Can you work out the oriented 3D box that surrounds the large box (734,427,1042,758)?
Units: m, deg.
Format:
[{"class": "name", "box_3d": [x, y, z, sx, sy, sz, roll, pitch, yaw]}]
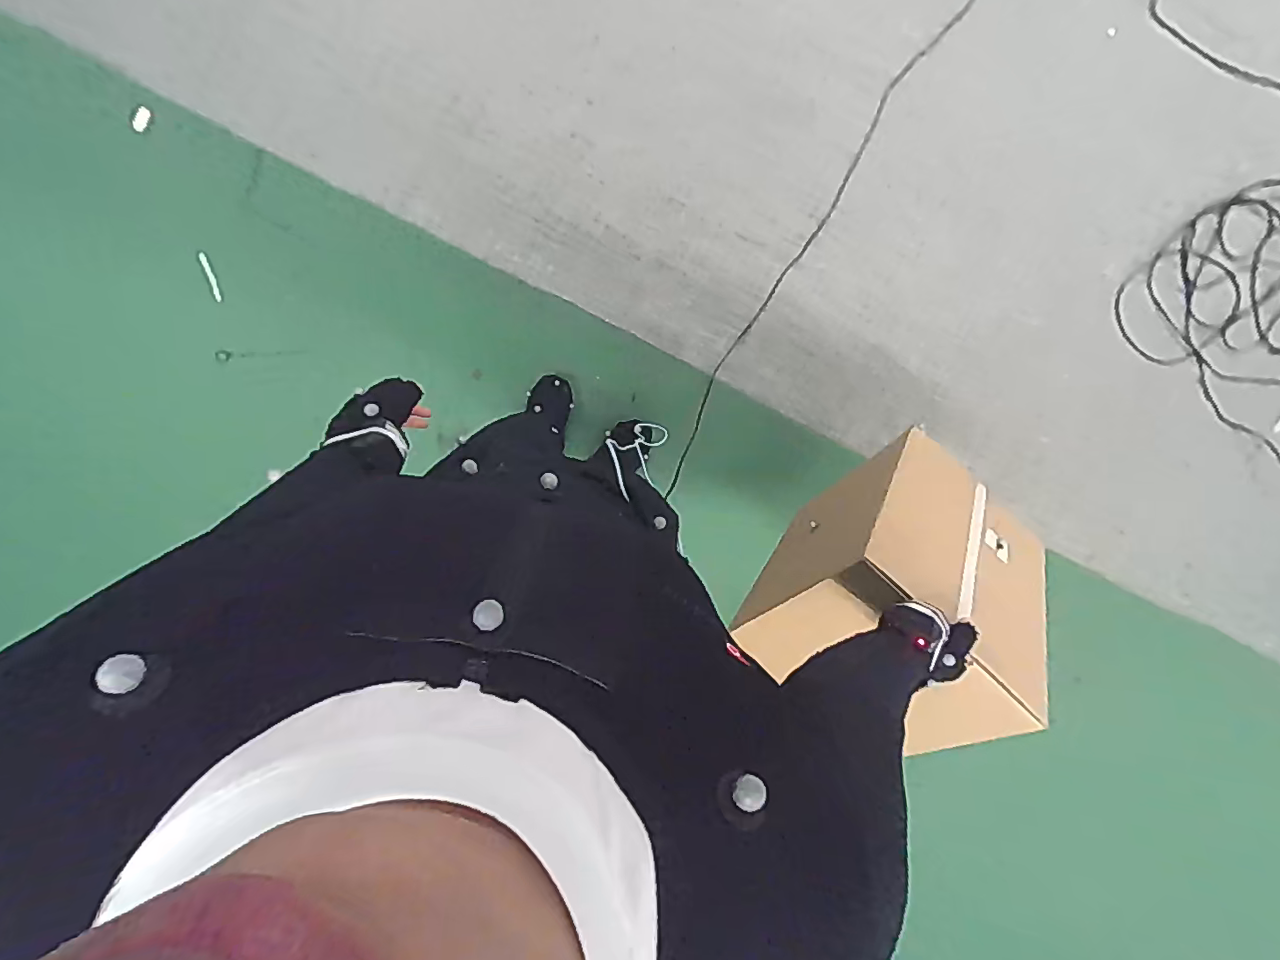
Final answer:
[{"class": "large box", "box_3d": [0.425, 0.185, 0.934, 0.320, 0.408, 0.320, 44, 134, 2]}]
